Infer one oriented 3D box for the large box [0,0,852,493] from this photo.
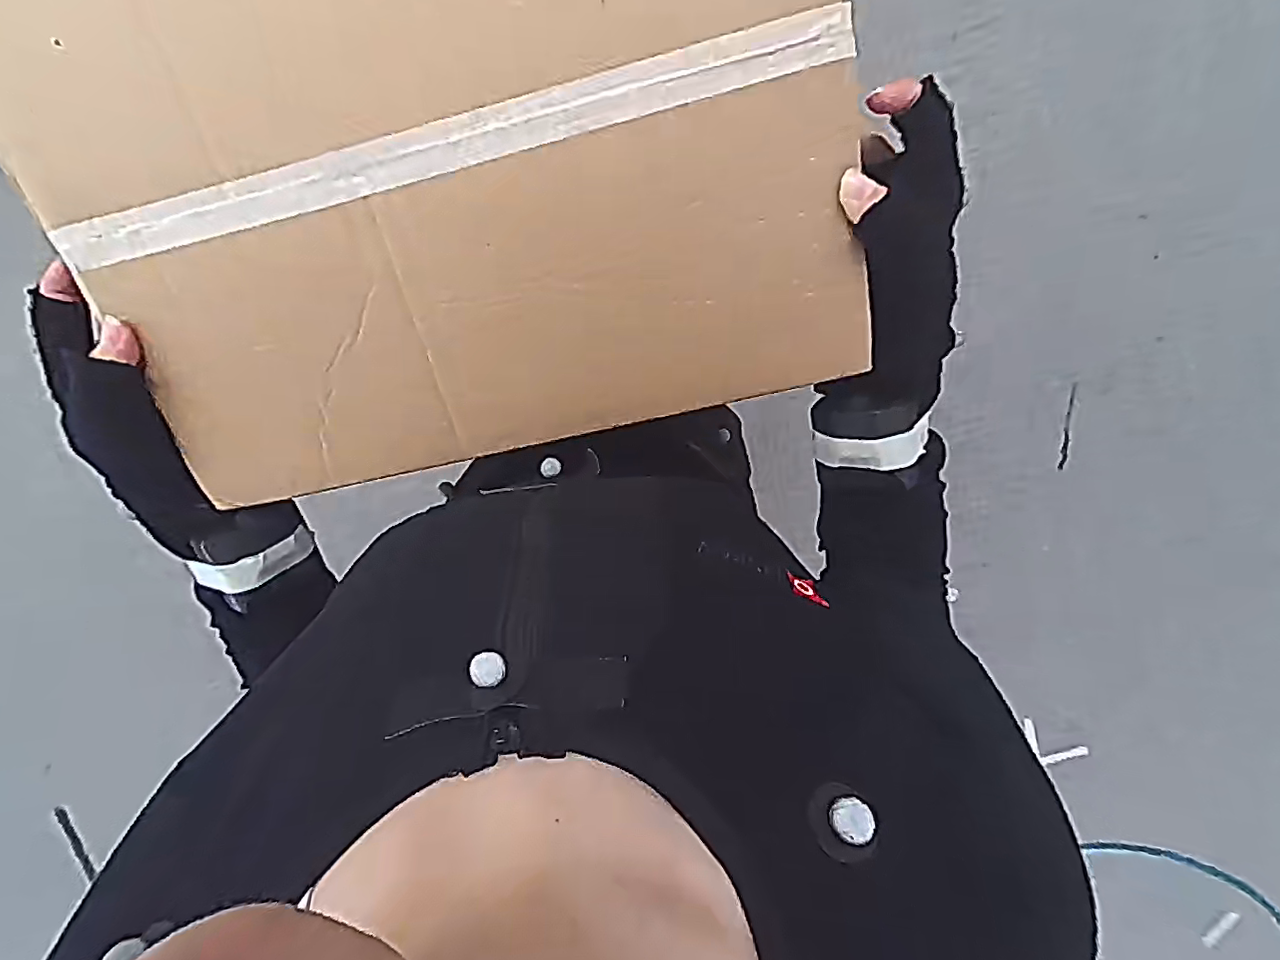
[{"bbox_3d":[-0.102,-0.228,0.407,0.408,0.320,0.320,-11,112,5],"label":"large box"}]
